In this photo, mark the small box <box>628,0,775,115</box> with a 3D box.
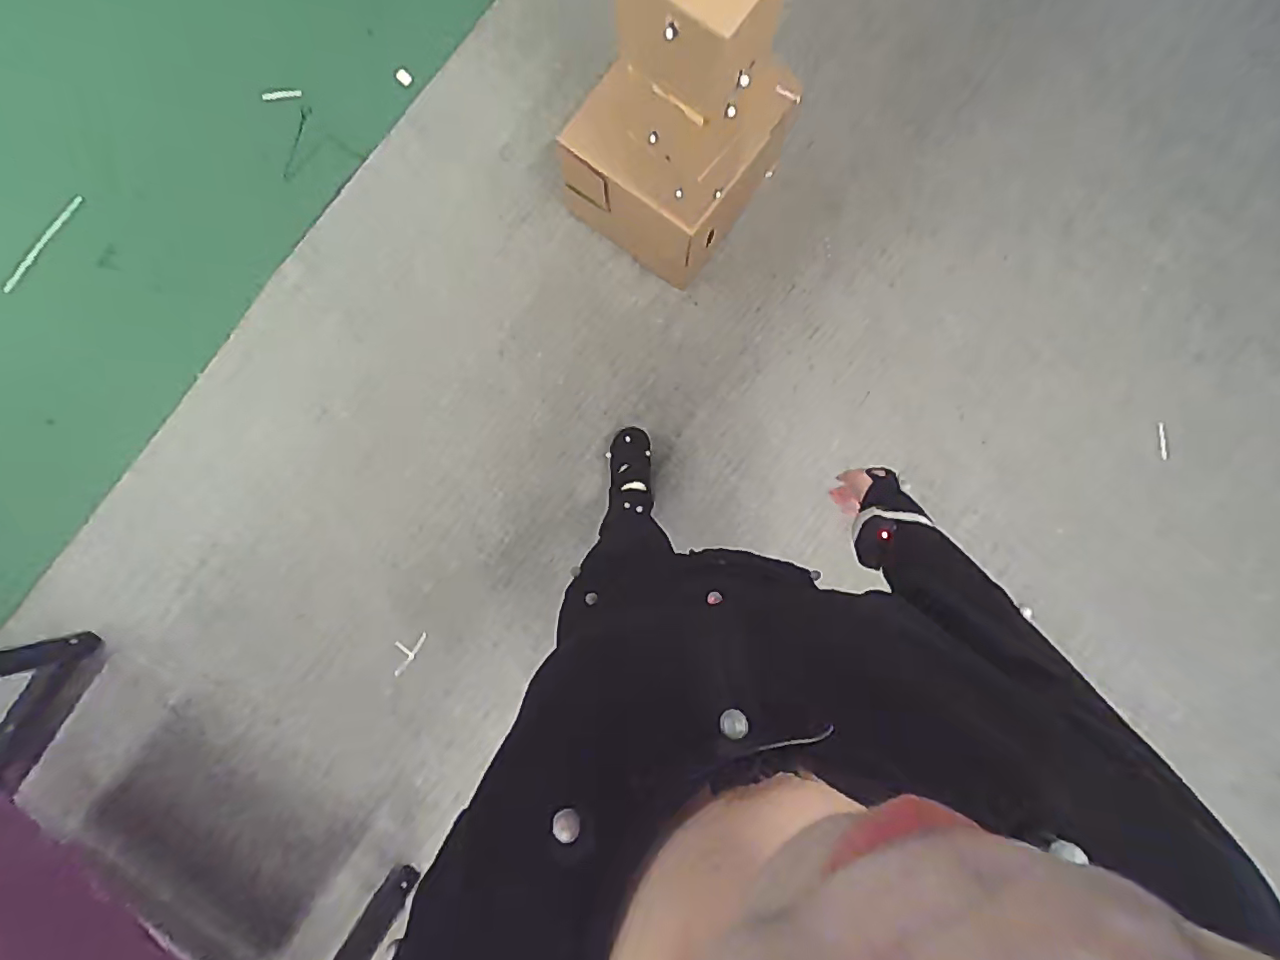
[{"bbox_3d":[0.092,-0.720,0.833,0.179,0.176,0.168,37,88,2],"label":"small box"}]

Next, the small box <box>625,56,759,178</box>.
[{"bbox_3d":[0.087,-0.712,0.996,0.168,0.176,0.179,40,88,3],"label":"small box"}]

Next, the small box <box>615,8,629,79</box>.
[{"bbox_3d":[0.056,-0.993,1.189,0.168,0.176,0.179,37,84,5],"label":"small box"}]
